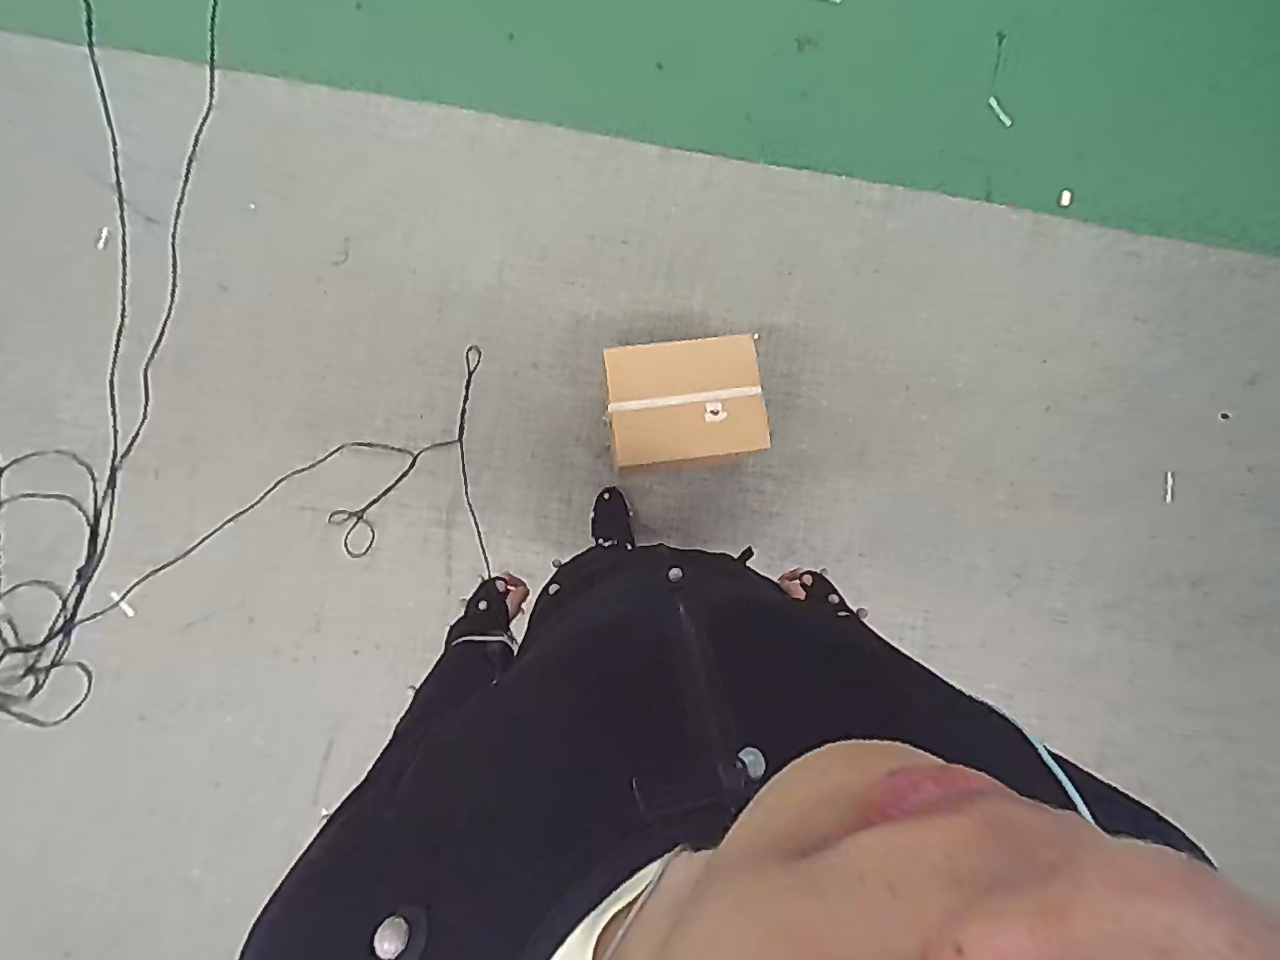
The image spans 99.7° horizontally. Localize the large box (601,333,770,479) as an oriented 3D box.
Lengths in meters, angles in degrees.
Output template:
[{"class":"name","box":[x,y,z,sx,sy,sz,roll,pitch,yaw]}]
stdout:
[{"class":"large box","box":[0.108,-0.195,1.544,0.408,0.320,0.320,-7,84,-5]}]
